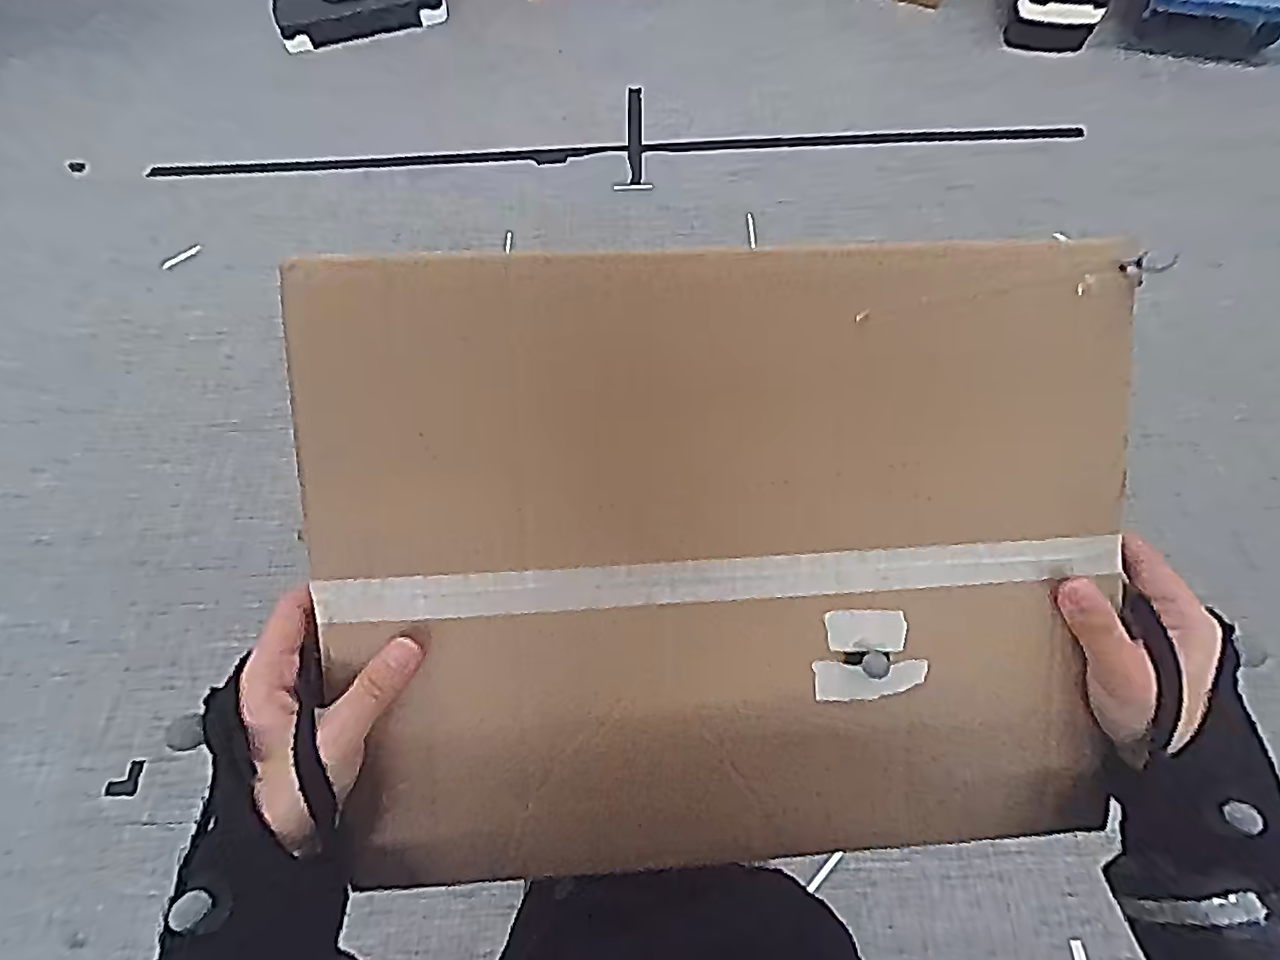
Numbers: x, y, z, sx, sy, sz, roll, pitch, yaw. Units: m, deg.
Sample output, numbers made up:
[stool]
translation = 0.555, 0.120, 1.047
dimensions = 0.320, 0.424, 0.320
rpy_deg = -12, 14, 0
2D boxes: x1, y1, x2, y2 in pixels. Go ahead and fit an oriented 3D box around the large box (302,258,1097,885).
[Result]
[large box]
translation = 0.033, 0.034, 0.430
dimensions = 0.408, 0.320, 0.320
rpy_deg = -3, 98, -4
